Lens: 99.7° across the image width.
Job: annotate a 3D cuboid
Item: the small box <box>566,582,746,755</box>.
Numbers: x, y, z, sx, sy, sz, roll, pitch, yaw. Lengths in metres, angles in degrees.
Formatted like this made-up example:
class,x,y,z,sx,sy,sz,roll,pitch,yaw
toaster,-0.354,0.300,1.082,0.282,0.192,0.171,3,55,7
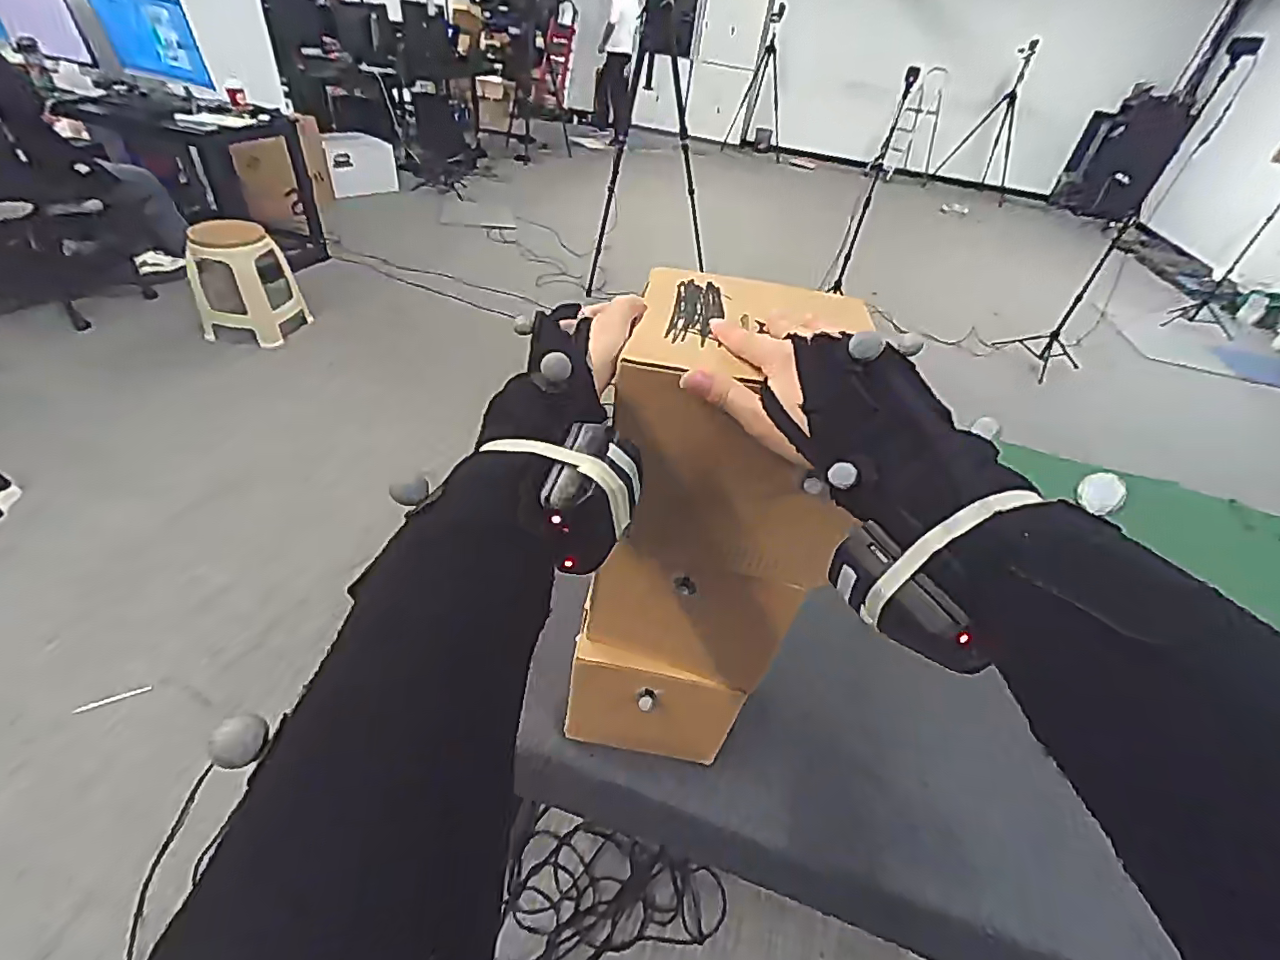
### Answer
class,x,y,z,sx,sy,sz,roll,pitch,yaw
small box,0.018,0.197,0.633,0.179,0.176,0.168,10,40,2

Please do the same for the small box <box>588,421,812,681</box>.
class,x,y,z,sx,sy,sz,roll,pitch,yaw
small box,0.056,0.070,0.538,0.179,0.176,0.168,16,41,8
